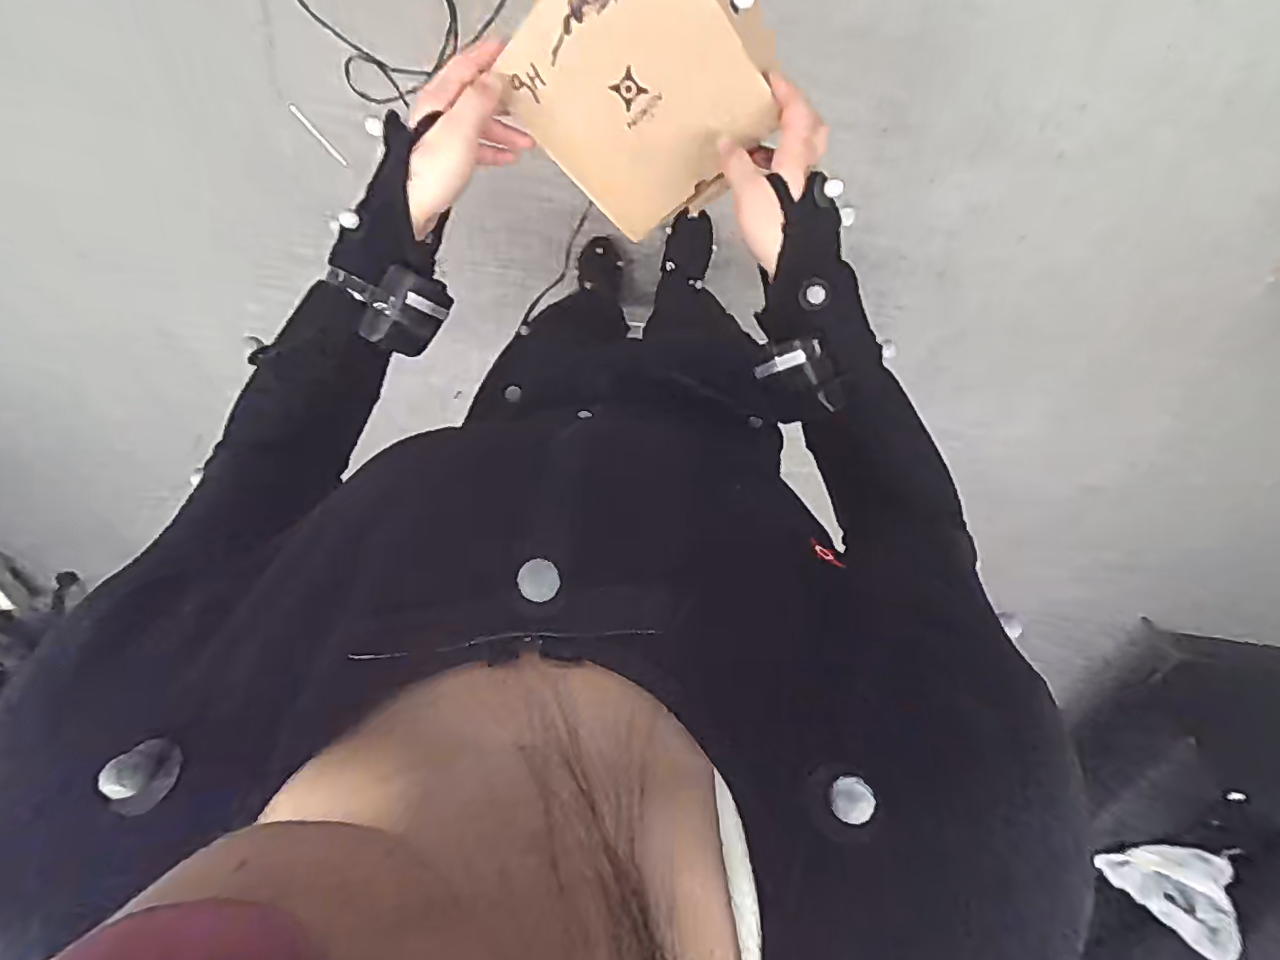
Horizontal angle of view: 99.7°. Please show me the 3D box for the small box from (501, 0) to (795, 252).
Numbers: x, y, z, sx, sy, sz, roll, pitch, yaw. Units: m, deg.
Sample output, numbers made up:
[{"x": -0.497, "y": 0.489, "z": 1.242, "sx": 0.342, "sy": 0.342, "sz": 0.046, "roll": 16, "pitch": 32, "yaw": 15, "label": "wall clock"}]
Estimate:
[{"x": 0.015, "y": -0.348, "z": 0.465, "sx": 0.168, "sy": 0.176, "sz": 0.179, "roll": -24, "pitch": 135, "yaw": 36, "label": "small box"}]
